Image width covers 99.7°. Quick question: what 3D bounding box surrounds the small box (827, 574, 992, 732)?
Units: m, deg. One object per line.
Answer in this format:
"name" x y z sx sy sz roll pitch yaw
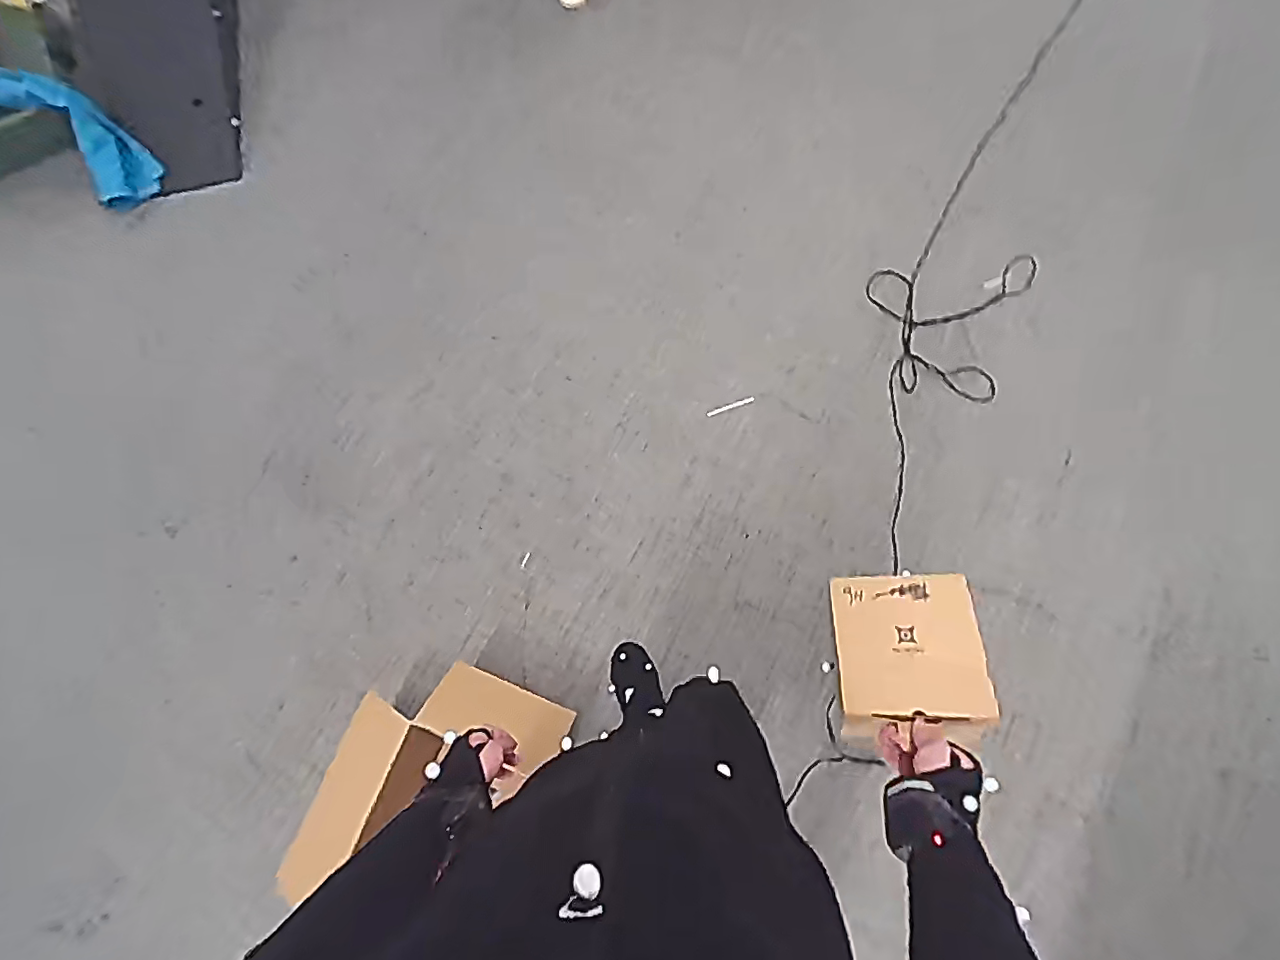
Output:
"small box" 0.346 0.238 0.730 0.168 0.176 0.179 -4 60 16
